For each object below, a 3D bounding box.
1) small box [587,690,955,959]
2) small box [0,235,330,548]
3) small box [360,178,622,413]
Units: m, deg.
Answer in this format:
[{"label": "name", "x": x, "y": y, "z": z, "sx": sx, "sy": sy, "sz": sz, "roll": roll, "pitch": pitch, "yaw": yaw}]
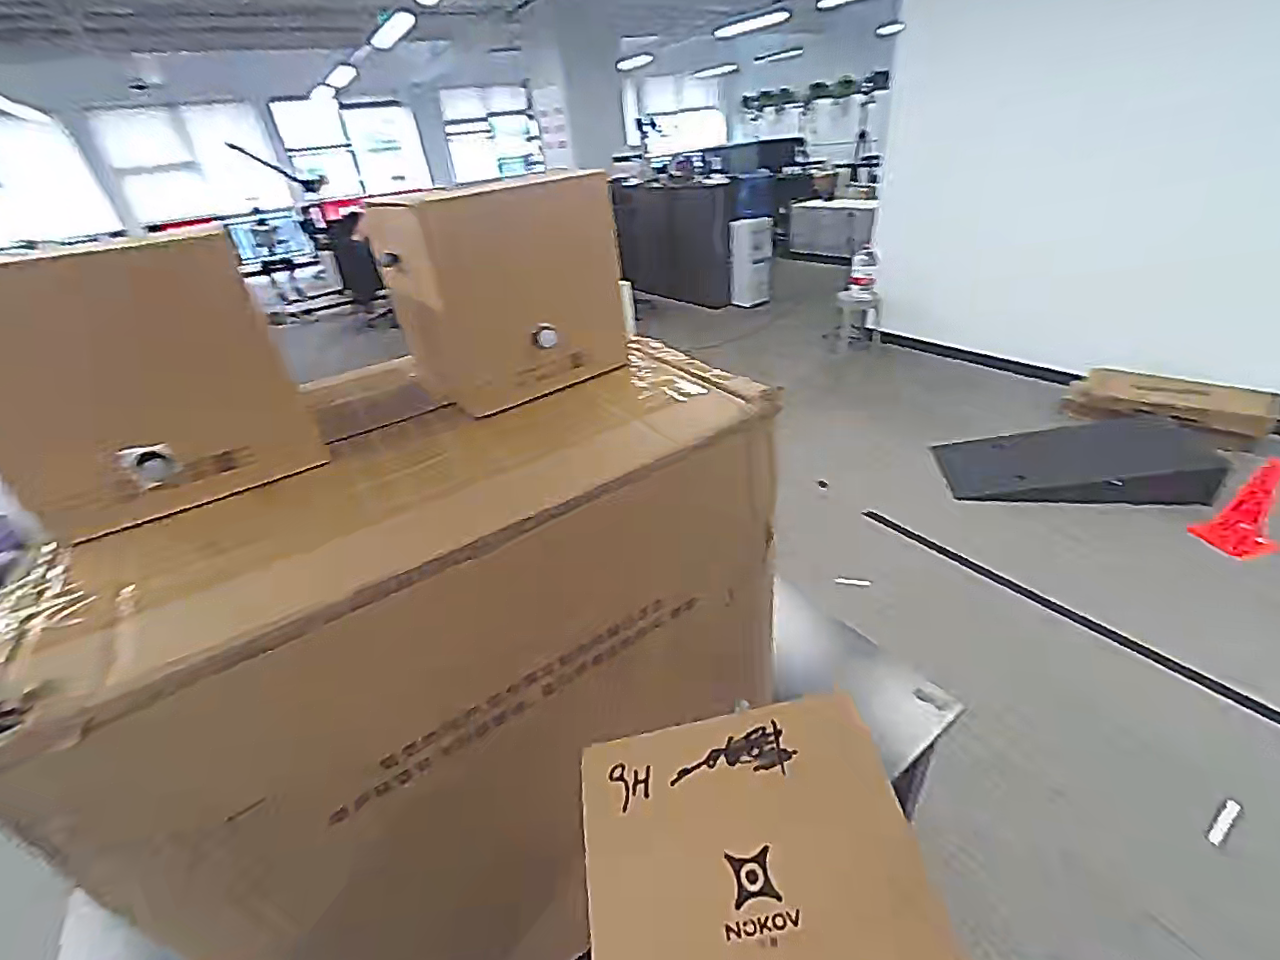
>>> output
[{"label": "small box", "x": 0.074, "y": 0.258, "z": 0.326, "sx": 0.168, "sy": 0.176, "sz": 0.179, "roll": -14, "pitch": 45, "yaw": 3}, {"label": "small box", "x": -0.364, "y": -0.078, "z": 0.407, "sx": 0.168, "sy": 0.176, "sz": 0.179, "roll": -26, "pitch": 37, "yaw": -27}, {"label": "small box", "x": -0.137, "y": -0.180, "z": 0.518, "sx": 0.168, "sy": 0.176, "sz": 0.179, "roll": -27, "pitch": 37, "yaw": -27}]
